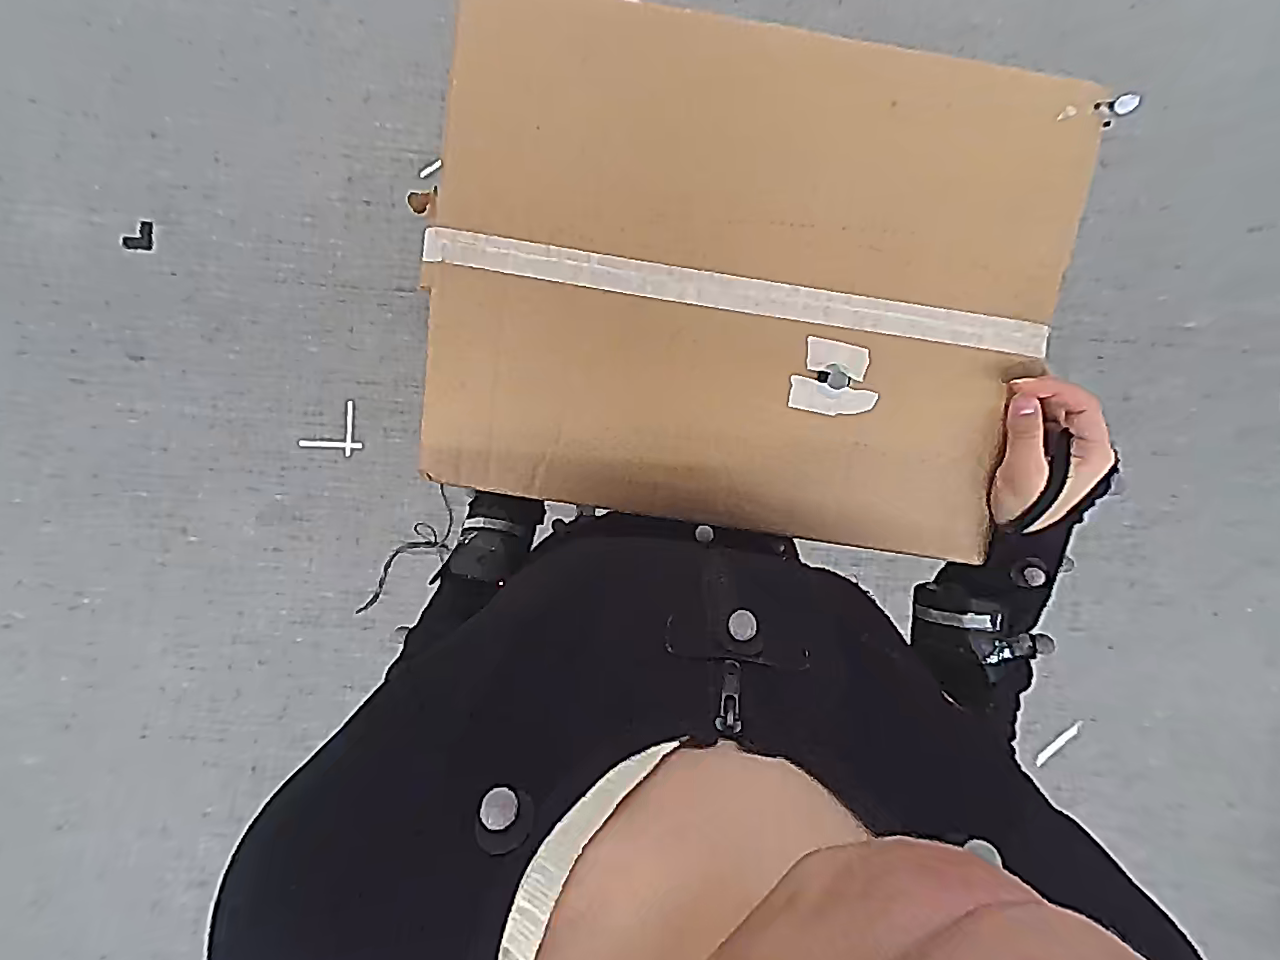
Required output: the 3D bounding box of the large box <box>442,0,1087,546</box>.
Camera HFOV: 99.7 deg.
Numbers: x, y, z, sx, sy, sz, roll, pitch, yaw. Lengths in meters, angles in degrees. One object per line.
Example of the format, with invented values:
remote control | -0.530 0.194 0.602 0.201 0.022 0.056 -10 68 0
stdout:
large box | 0.069 -0.148 0.510 0.408 0.320 0.320 8 100 -3
